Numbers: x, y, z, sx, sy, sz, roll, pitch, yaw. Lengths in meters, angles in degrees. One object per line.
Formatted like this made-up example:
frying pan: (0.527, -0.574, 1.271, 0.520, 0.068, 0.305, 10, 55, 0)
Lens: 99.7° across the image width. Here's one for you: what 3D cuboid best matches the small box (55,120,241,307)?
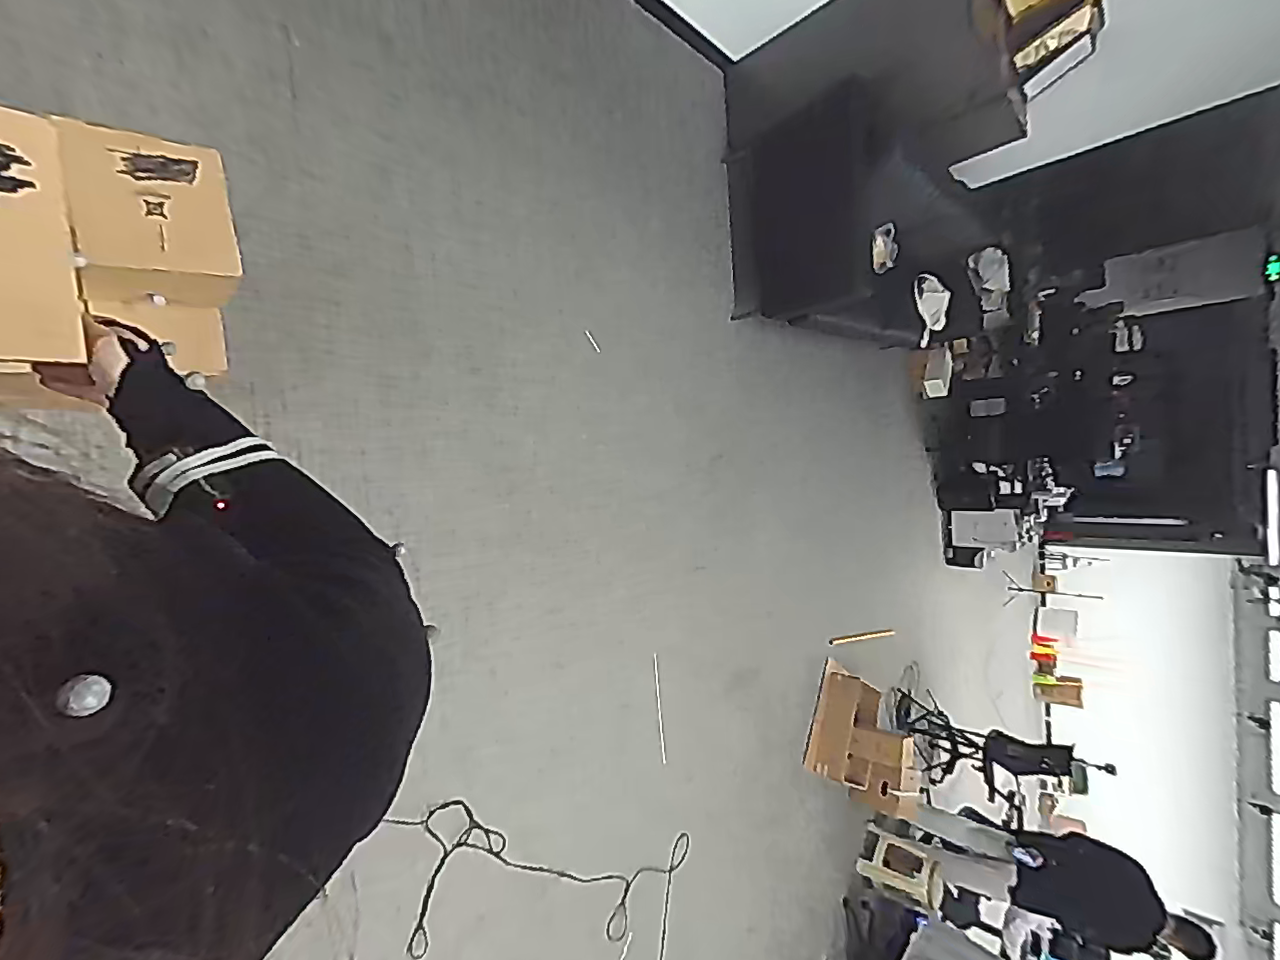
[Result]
small box: (-0.696, -0.359, 0.769, 0.168, 0.176, 0.179, -13, 98, -44)
